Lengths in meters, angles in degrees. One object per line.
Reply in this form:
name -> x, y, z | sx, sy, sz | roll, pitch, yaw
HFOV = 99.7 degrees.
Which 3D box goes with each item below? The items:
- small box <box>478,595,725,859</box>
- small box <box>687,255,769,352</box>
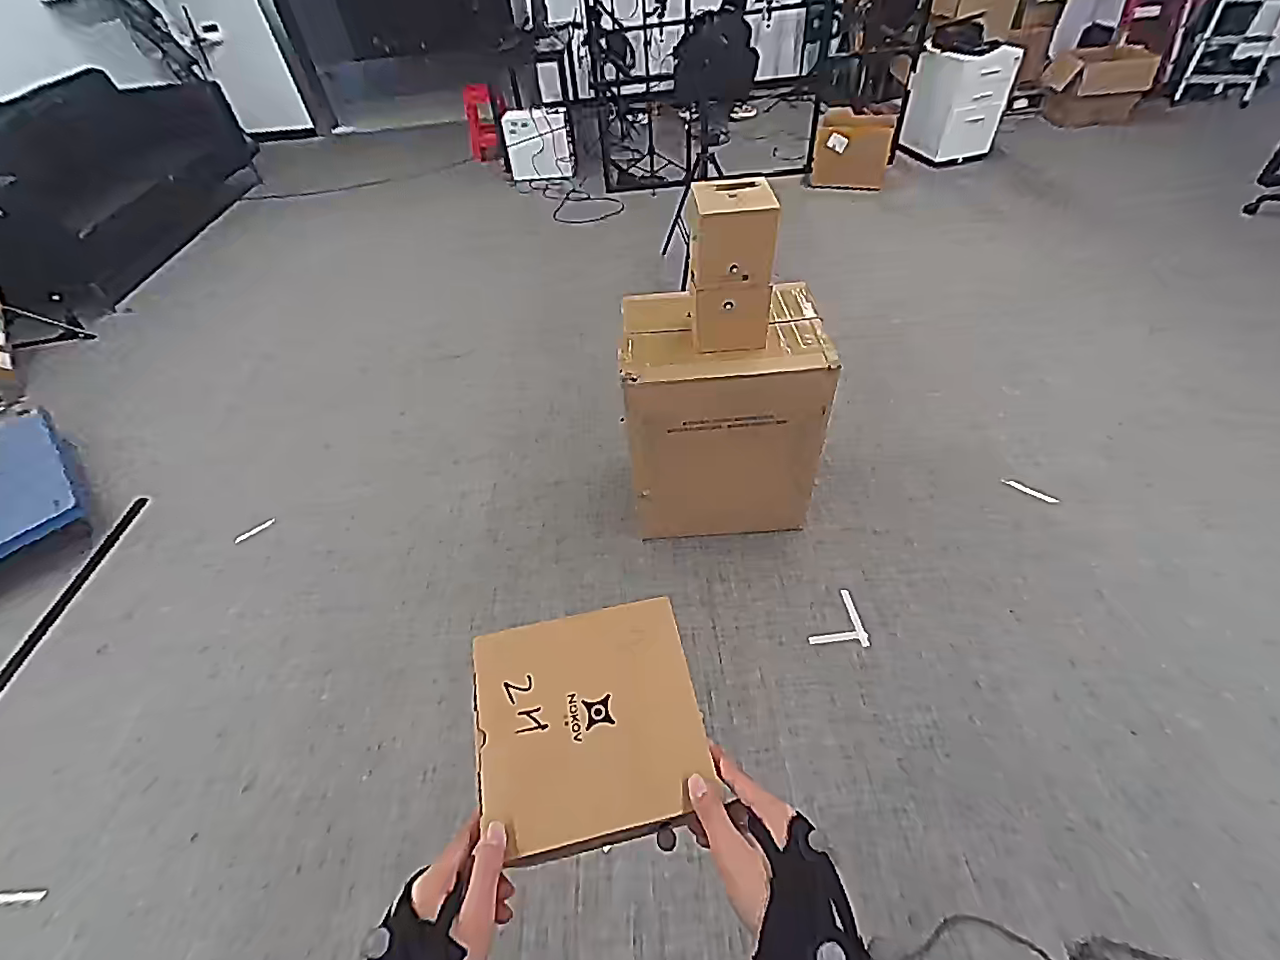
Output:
small box -> -0.038, 0.226, 0.490 | 0.179, 0.176, 0.168 | -10, 54, -6
small box -> 0.210, -0.428, 1.325 | 0.179, 0.176, 0.168 | -4, 47, 1
